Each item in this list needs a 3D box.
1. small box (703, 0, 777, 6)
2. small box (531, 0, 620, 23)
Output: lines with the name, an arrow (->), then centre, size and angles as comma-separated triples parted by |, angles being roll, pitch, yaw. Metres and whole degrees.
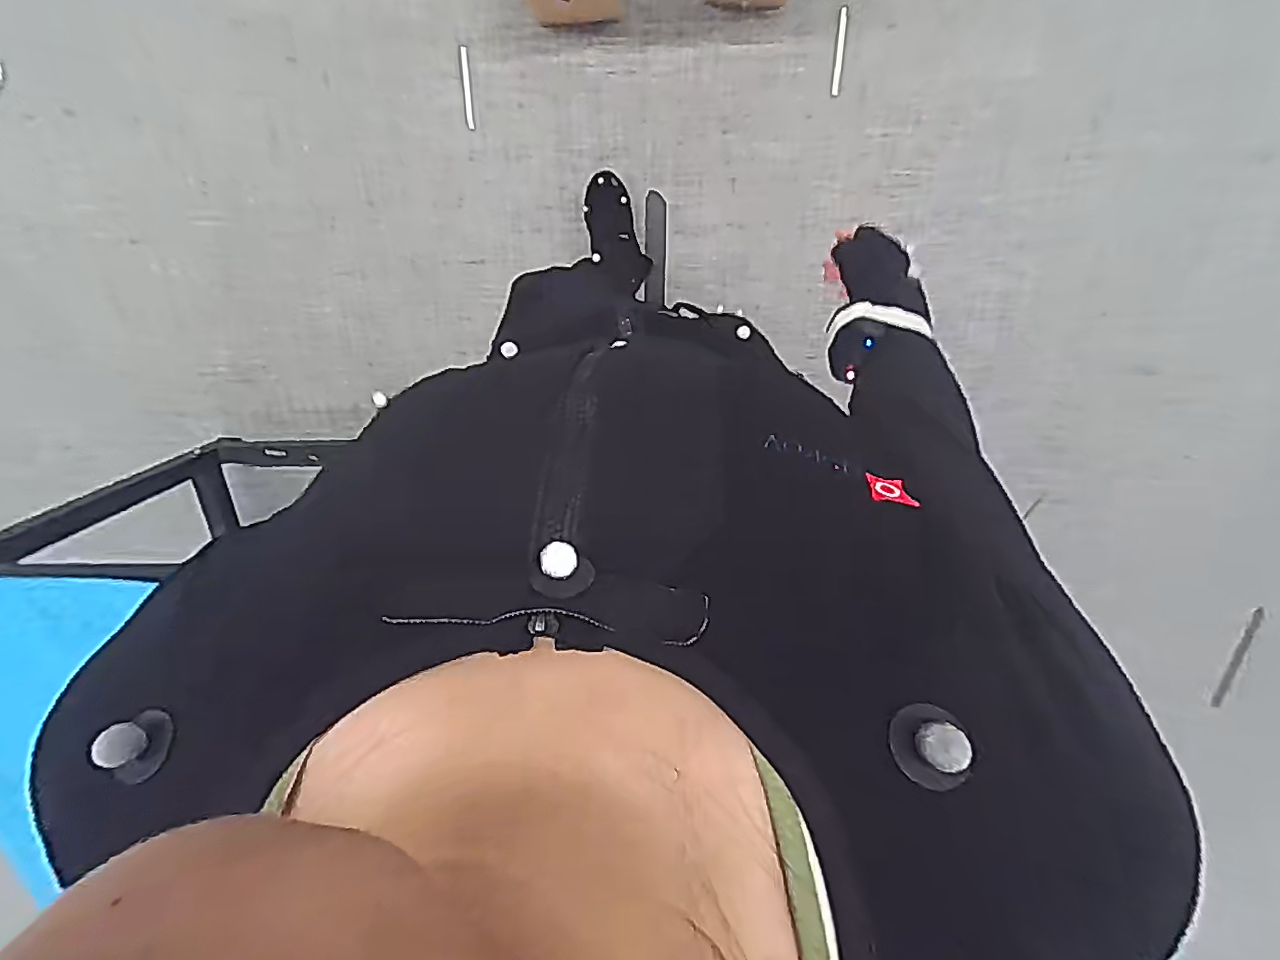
small box -> 0.210, -1.027, 1.013 | 0.179, 0.176, 0.168 | 3, 113, -1
small box -> -0.133, -1.006, 1.030 | 0.179, 0.176, 0.168 | -3, 113, 2
